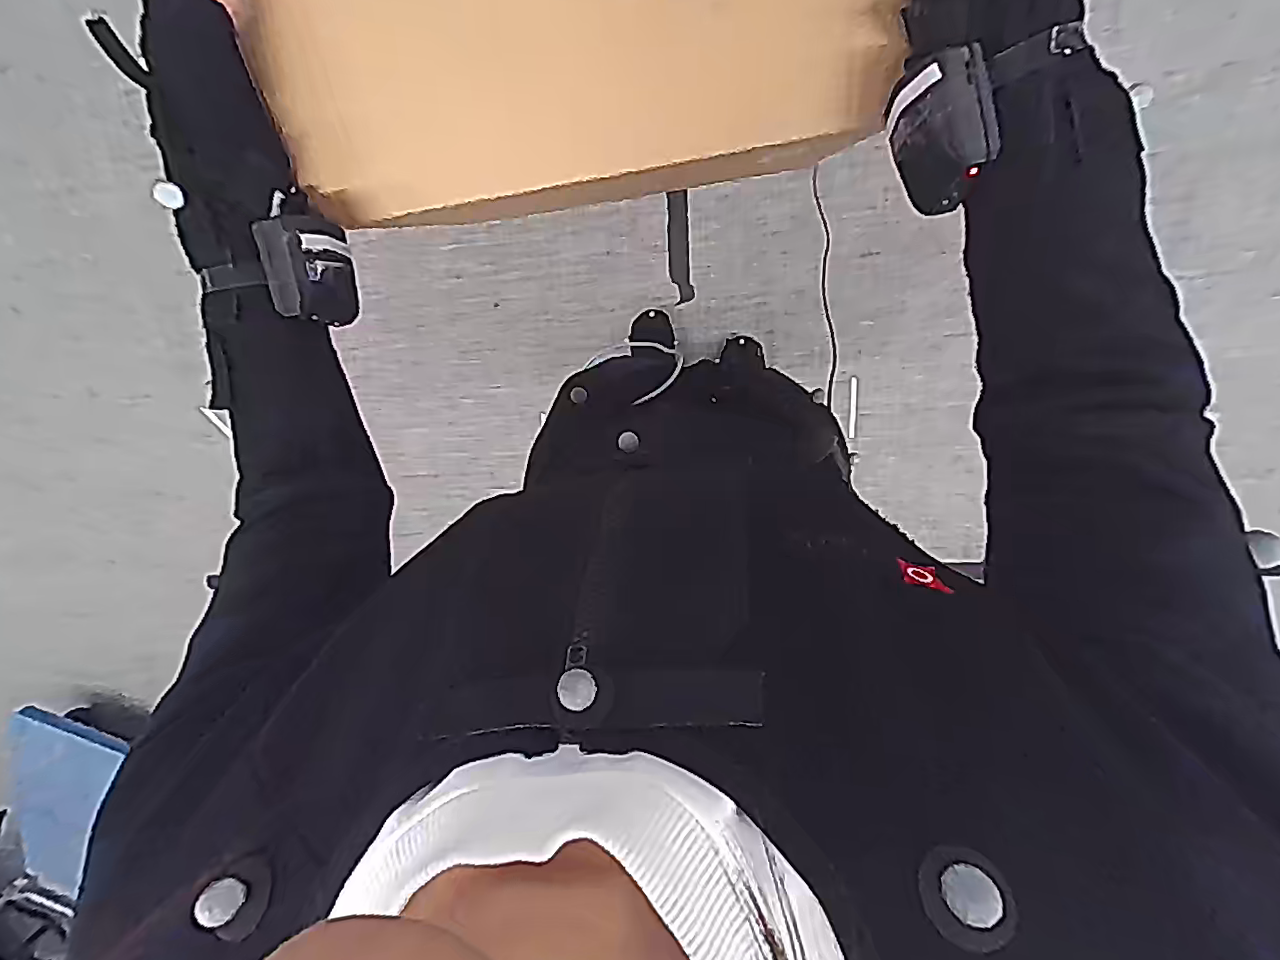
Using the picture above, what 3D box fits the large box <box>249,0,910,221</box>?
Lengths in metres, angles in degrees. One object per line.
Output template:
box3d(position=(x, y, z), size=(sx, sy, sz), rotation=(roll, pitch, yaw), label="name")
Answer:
box3d(position=(-0.044, -0.413, 0.434), size=(0.408, 0.320, 0.320), rotation=(-6, 116, 8), label="large box")
